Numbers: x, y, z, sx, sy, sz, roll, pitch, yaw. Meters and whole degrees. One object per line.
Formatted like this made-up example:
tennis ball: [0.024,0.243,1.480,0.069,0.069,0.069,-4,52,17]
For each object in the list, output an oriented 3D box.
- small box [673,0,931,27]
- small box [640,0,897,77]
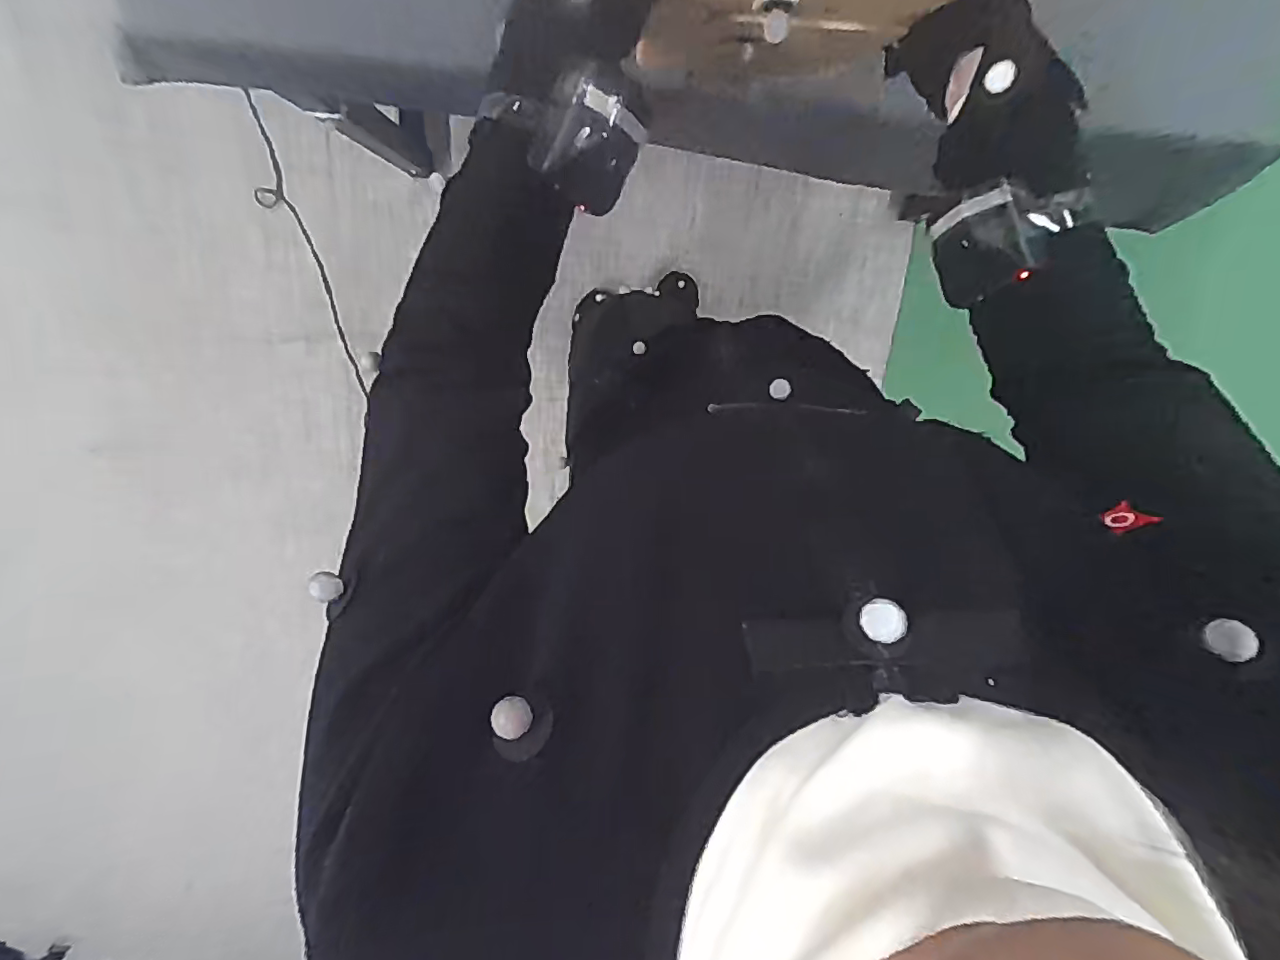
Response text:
small box: [0.096,-0.340,0.241,0.168,0.176,0.179,2,119,-2]
small box: [0.091,-0.418,0.401,0.179,0.176,0.168,2,118,-3]
